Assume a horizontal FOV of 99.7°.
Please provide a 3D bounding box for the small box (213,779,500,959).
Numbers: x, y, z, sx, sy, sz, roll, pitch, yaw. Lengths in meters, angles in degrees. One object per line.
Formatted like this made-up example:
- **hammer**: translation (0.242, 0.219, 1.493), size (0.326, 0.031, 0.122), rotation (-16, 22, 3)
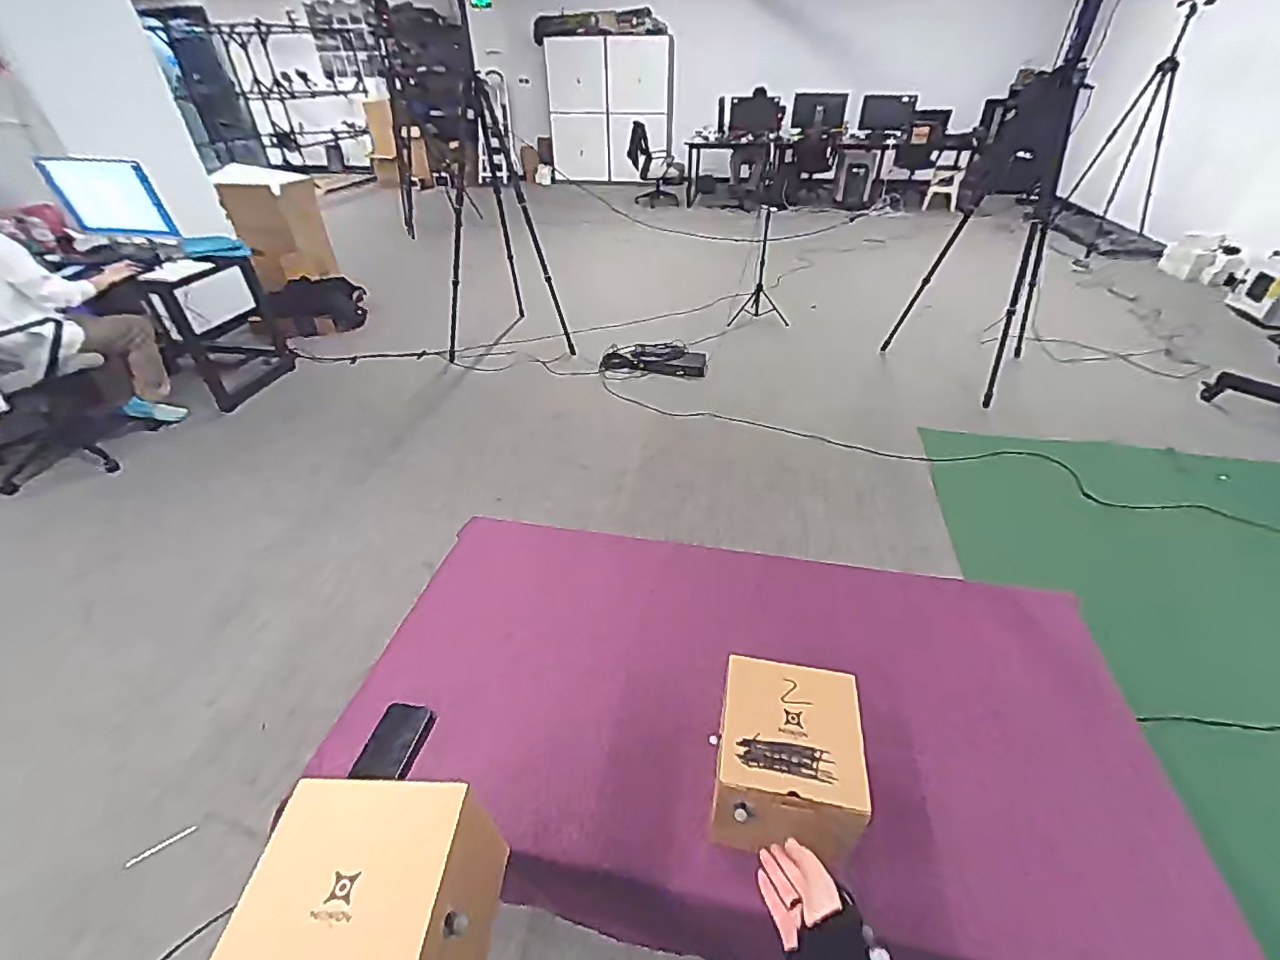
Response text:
- **small box**: translation (-0.238, 0.402, 0.494), size (0.168, 0.176, 0.179), rotation (-1, 40, 5)
